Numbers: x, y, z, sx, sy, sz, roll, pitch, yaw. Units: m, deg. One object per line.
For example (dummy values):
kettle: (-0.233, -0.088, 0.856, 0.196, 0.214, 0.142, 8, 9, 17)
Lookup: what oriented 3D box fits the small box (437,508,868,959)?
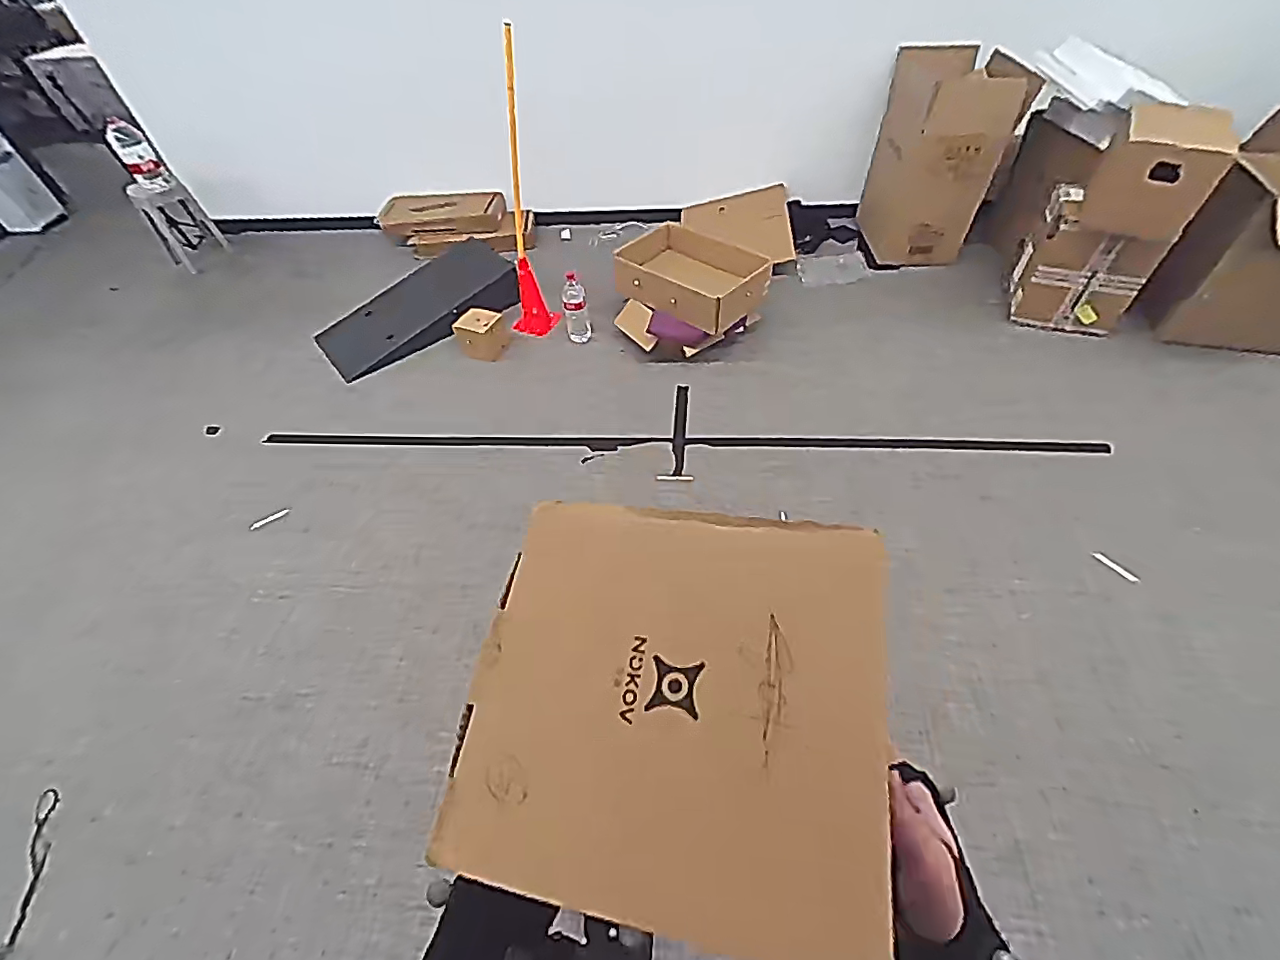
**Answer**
small box: (0.025, 0.131, 0.312, 0.179, 0.176, 0.168, 4, 61, 14)
